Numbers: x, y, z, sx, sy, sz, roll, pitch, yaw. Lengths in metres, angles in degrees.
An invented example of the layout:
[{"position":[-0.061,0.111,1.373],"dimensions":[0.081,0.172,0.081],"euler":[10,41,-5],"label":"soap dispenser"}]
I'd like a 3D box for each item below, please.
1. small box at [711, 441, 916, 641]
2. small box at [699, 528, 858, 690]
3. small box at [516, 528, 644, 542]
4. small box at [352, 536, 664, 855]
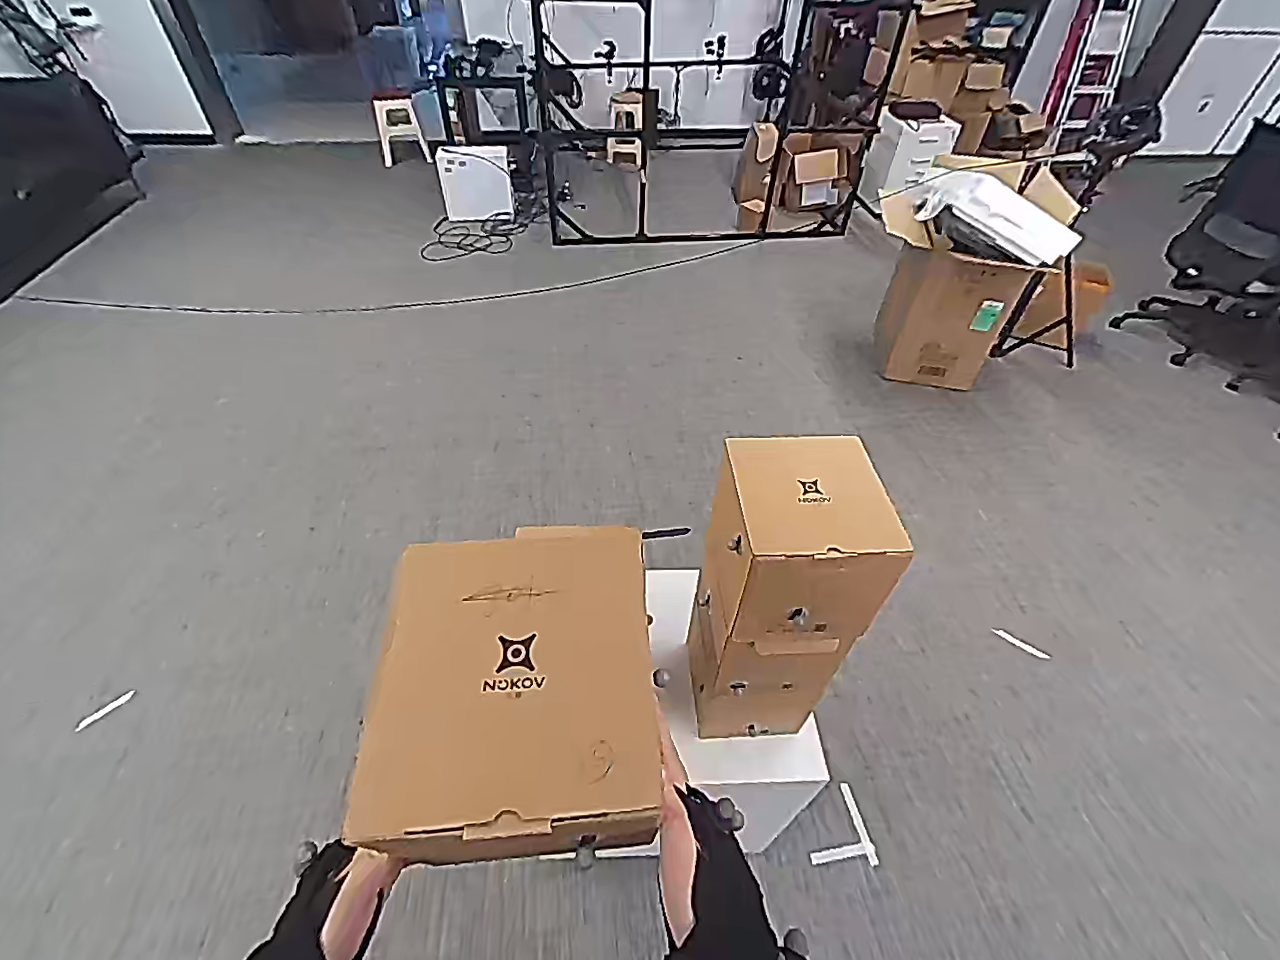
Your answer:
[{"position":[0.184,0.071,0.642],"dimensions":[0.168,0.176,0.179],"euler":[-1,47,-3],"label":"small box"},{"position":[0.179,0.183,0.760],"dimensions":[0.168,0.176,0.179],"euler":[-1,45,-3],"label":"small box"},{"position":[-0.083,0.182,0.749],"dimensions":[0.179,0.176,0.168],"euler":[1,47,-2],"label":"small box"},{"position":[-0.073,0.160,0.391],"dimensions":[0.168,0.176,0.179],"euler":[-2,51,-4],"label":"small box"}]
